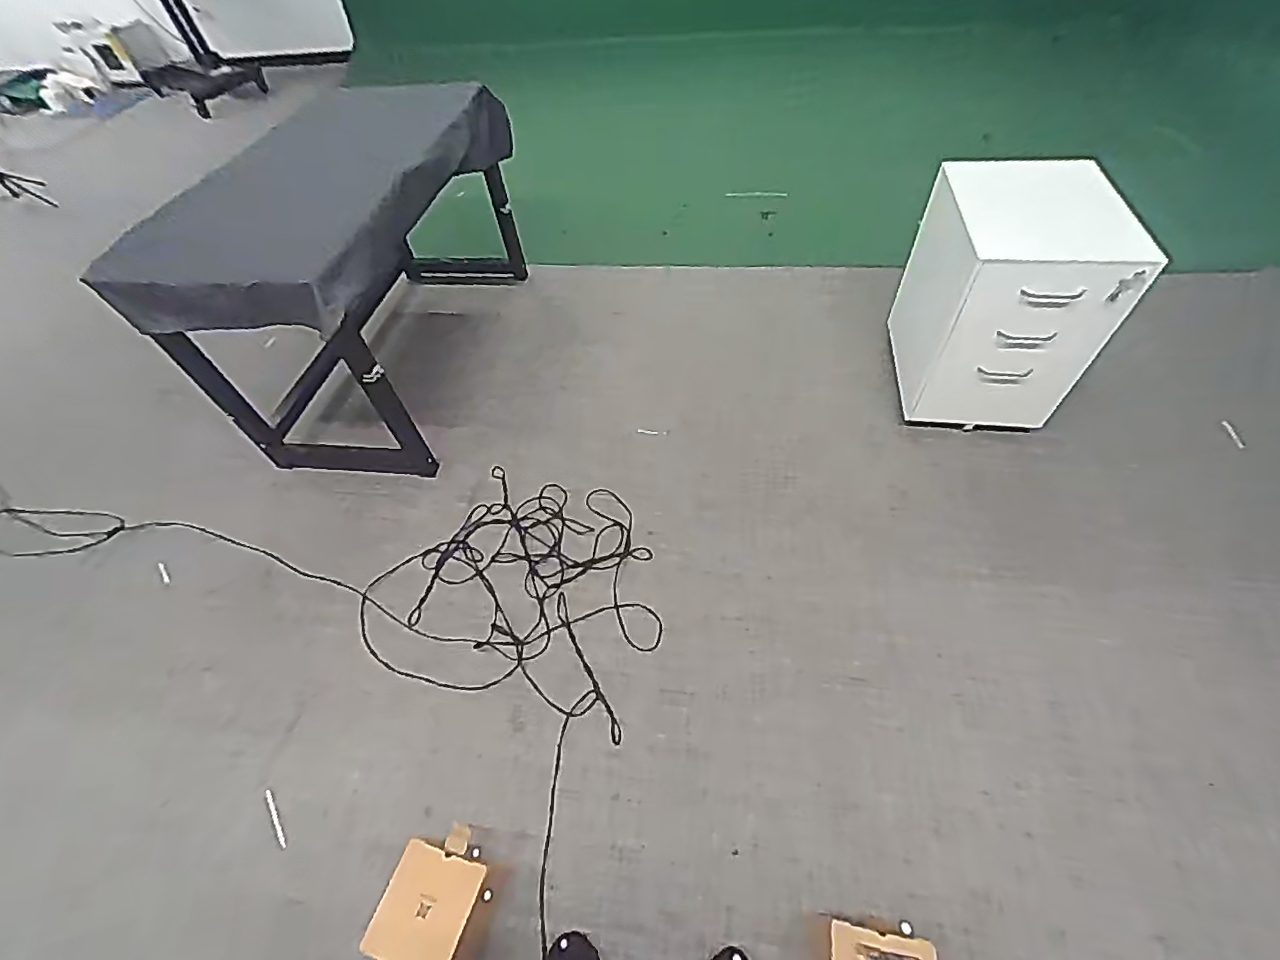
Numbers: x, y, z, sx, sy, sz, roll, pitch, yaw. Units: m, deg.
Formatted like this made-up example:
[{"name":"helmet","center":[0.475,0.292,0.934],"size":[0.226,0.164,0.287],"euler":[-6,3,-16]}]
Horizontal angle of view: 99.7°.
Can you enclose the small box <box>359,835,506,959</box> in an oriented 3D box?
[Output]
[{"name":"small box","center":[-0.374,0.801,1.015],"size":[0.168,0.176,0.179],"euler":[12,54,14]}]
